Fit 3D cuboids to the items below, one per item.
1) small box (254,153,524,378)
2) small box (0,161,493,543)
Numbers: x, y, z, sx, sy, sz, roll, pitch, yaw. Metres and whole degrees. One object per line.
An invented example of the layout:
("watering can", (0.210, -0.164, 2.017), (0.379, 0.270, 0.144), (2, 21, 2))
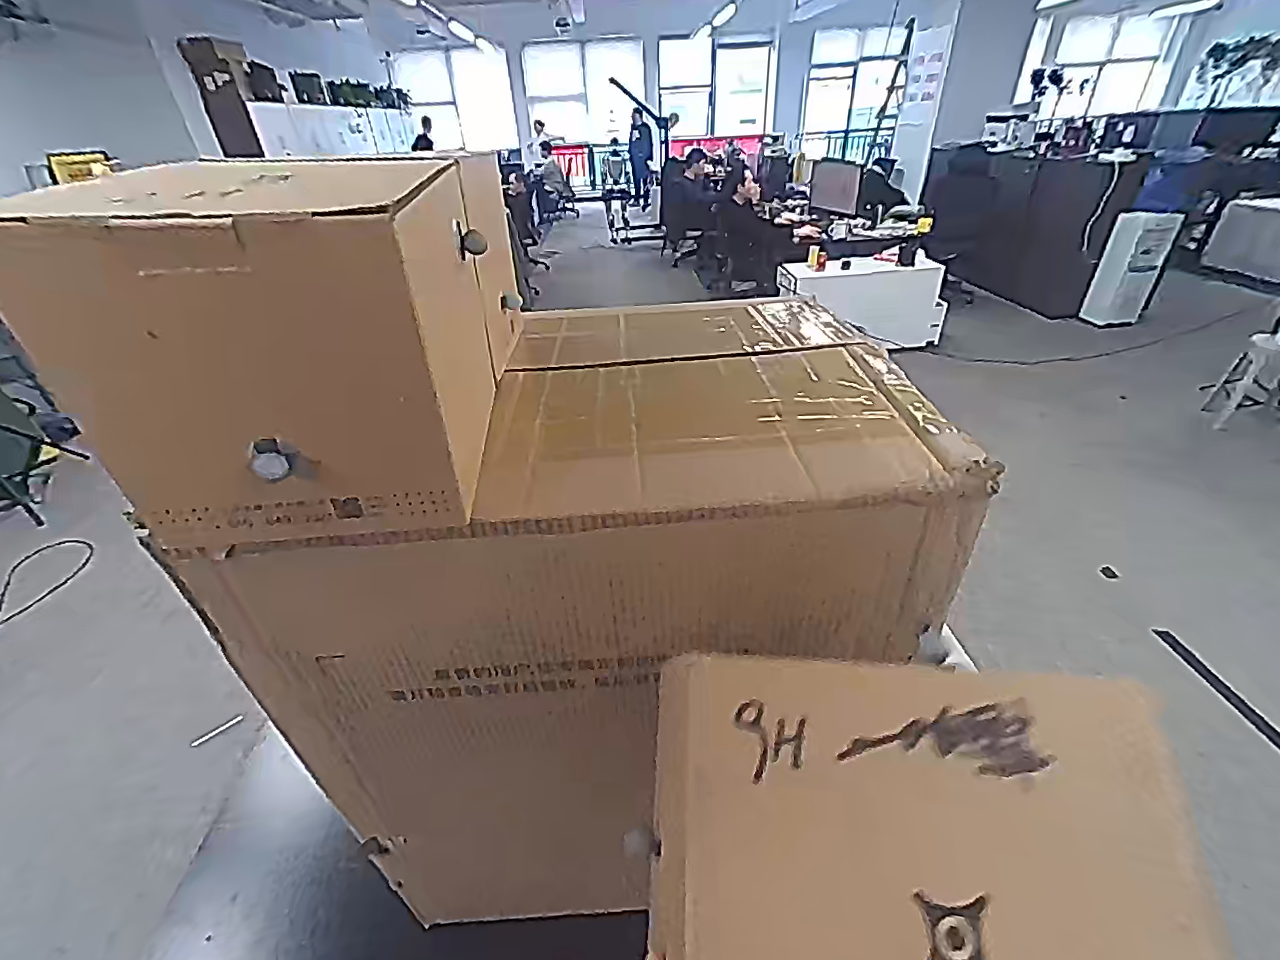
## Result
("small box", (-0.210, -0.184, 0.473), (0.179, 0.176, 0.168), (-3, 32, -2))
("small box", (-0.188, -0.084, 0.323), (0.168, 0.176, 0.179), (-4, 37, -6))
